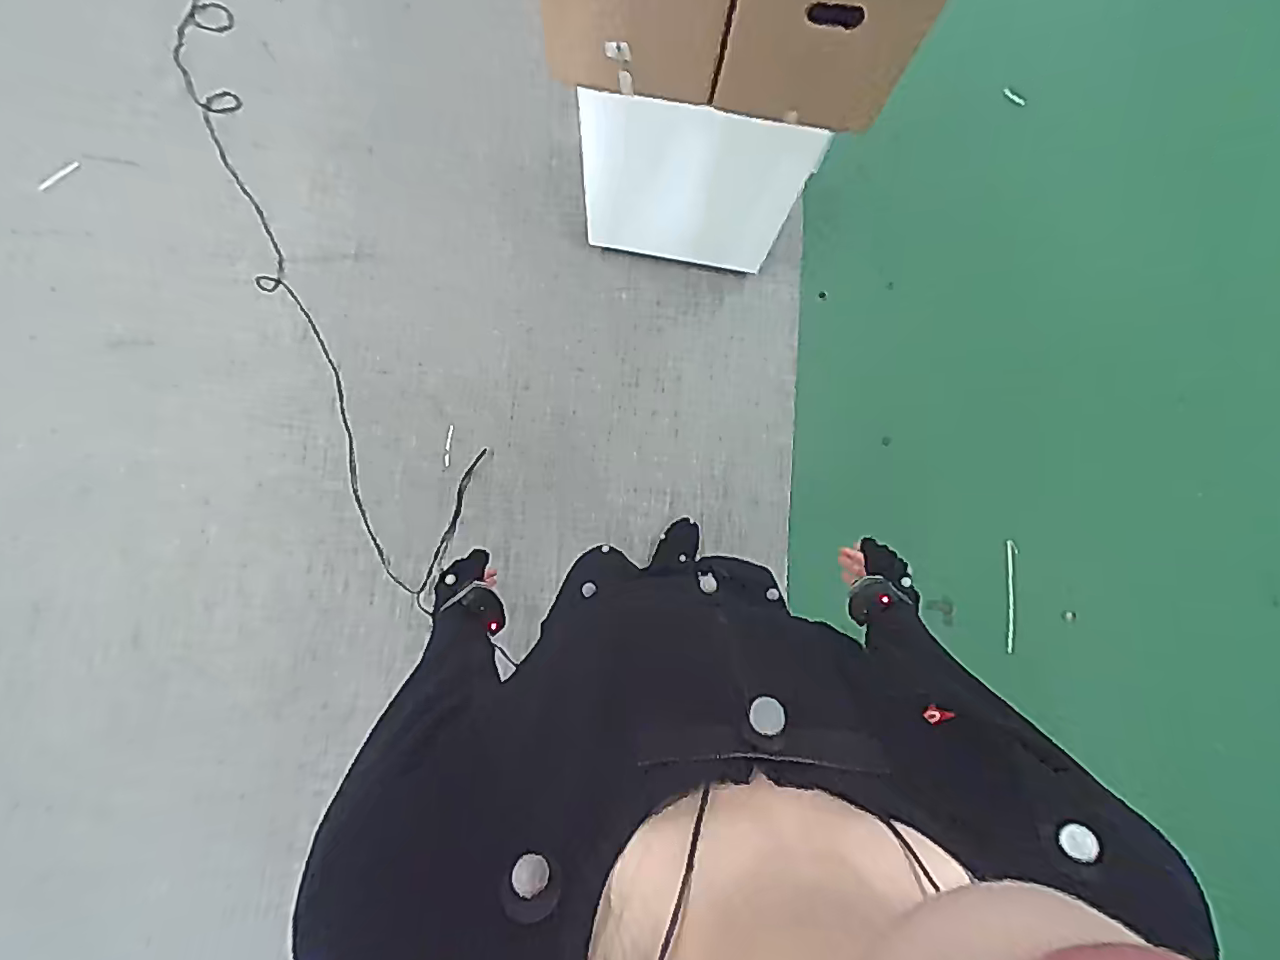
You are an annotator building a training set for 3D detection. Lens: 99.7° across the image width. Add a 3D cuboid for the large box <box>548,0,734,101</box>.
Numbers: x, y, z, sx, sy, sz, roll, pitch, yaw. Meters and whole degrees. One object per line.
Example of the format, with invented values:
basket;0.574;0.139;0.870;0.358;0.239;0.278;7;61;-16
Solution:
large box;0.020;-0.954;0.917;0.320;0.320;0.408;9;81;-2
